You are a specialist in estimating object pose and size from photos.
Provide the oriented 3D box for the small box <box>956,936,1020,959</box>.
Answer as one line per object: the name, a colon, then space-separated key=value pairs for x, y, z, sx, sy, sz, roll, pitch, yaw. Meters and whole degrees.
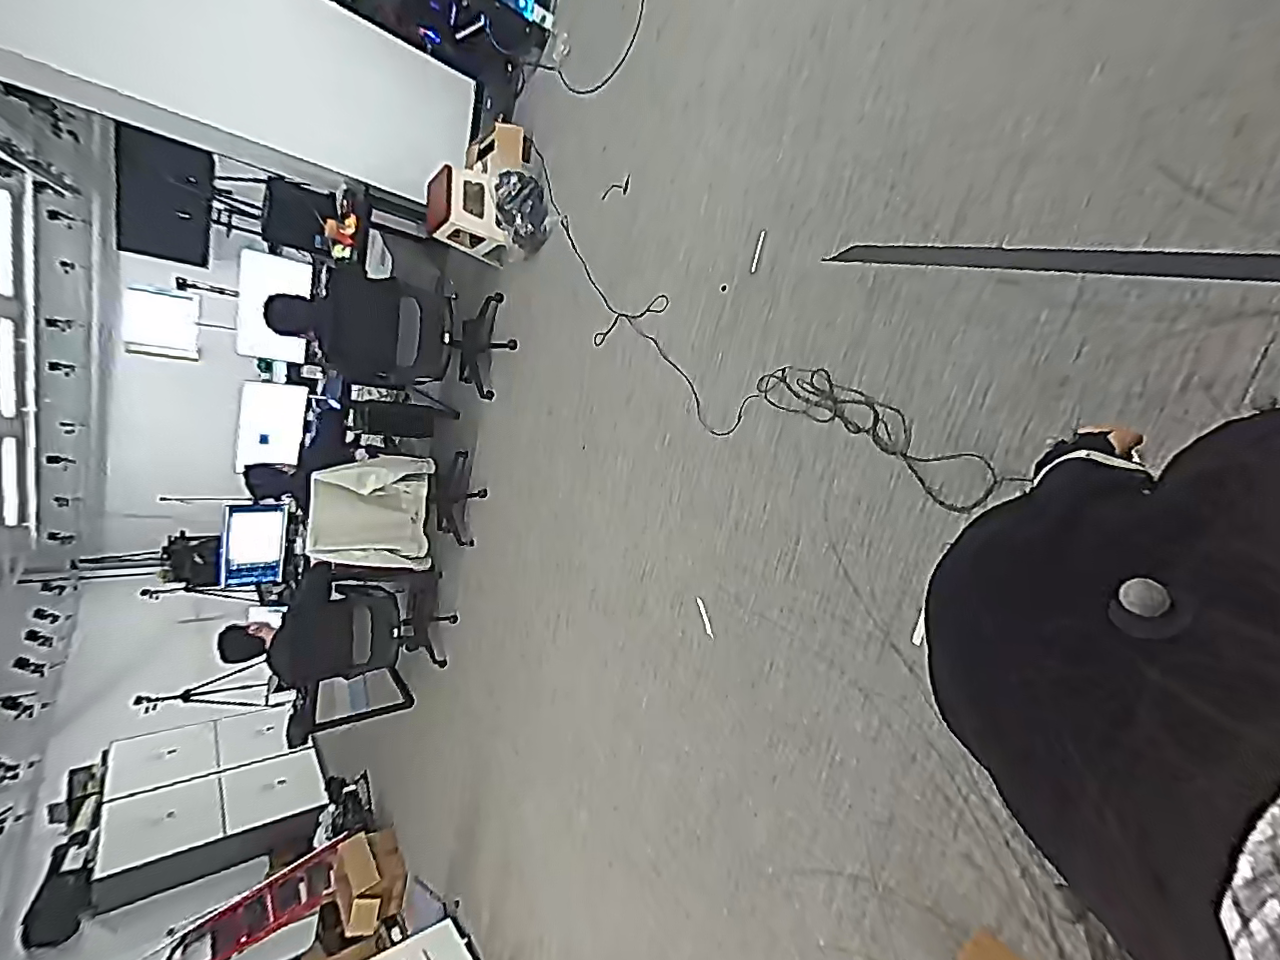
small box: x=0.819 y=1.204 z=1.239 sx=0.179 sy=0.176 sz=0.168 roll=20 pitch=103 yaw=46
